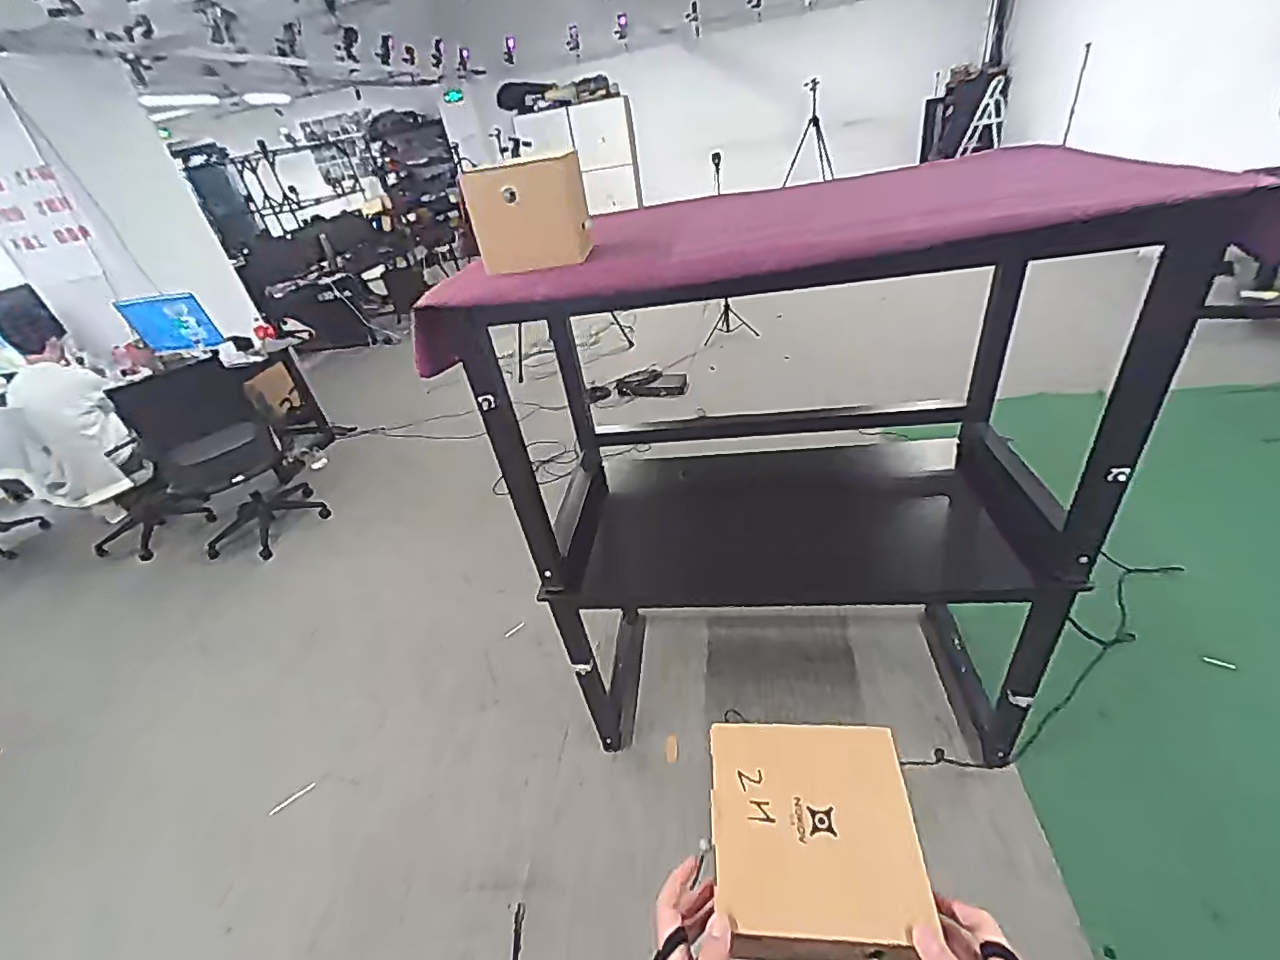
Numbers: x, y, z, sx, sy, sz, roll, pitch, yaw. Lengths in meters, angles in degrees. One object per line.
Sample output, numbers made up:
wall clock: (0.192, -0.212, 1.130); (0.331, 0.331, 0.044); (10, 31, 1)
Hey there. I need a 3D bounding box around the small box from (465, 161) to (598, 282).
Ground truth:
small box: (-0.186, -0.467, 0.982); (0.179, 0.176, 0.168); (-4, 34, 8)
